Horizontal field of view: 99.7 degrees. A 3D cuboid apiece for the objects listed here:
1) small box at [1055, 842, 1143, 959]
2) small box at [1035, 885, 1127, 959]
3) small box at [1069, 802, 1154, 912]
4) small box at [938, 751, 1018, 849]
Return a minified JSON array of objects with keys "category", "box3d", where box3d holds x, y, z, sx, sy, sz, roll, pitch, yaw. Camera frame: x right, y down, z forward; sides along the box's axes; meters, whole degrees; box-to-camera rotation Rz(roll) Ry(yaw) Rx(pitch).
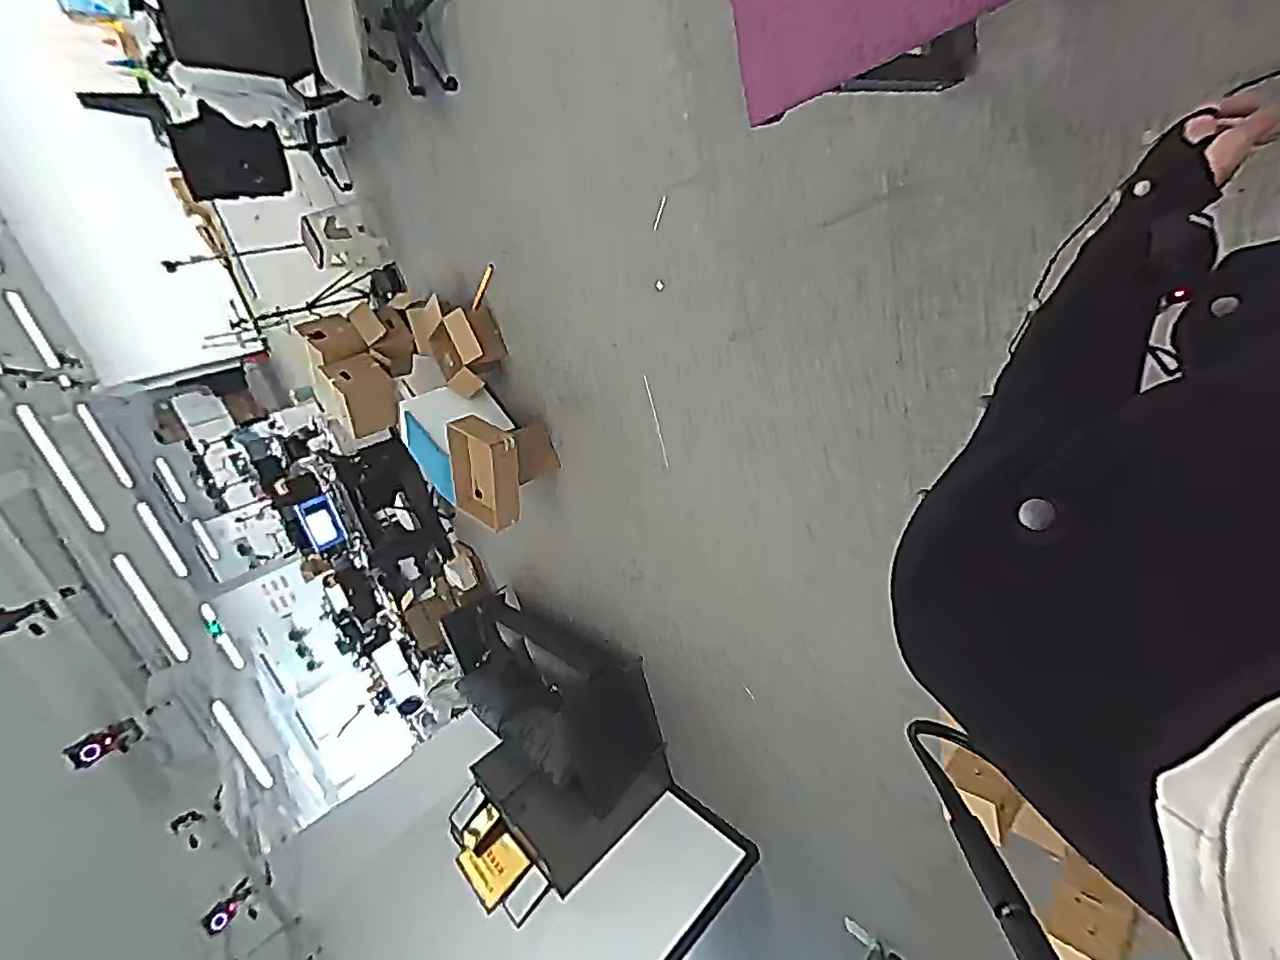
[{"category":"small box","box3d":[1.322,1.205,1.559,0.168,0.176,0.179,6,119,51]},{"category":"small box","box3d":[1.201,1.269,1.473,0.168,0.176,0.179,6,119,50]},{"category":"small box","box3d":[1.442,1.140,1.650,0.168,0.176,0.179,1,114,52]},{"category":"small box","box3d":[1.083,1.013,1.729,0.168,0.176,0.179,4,116,53]}]
